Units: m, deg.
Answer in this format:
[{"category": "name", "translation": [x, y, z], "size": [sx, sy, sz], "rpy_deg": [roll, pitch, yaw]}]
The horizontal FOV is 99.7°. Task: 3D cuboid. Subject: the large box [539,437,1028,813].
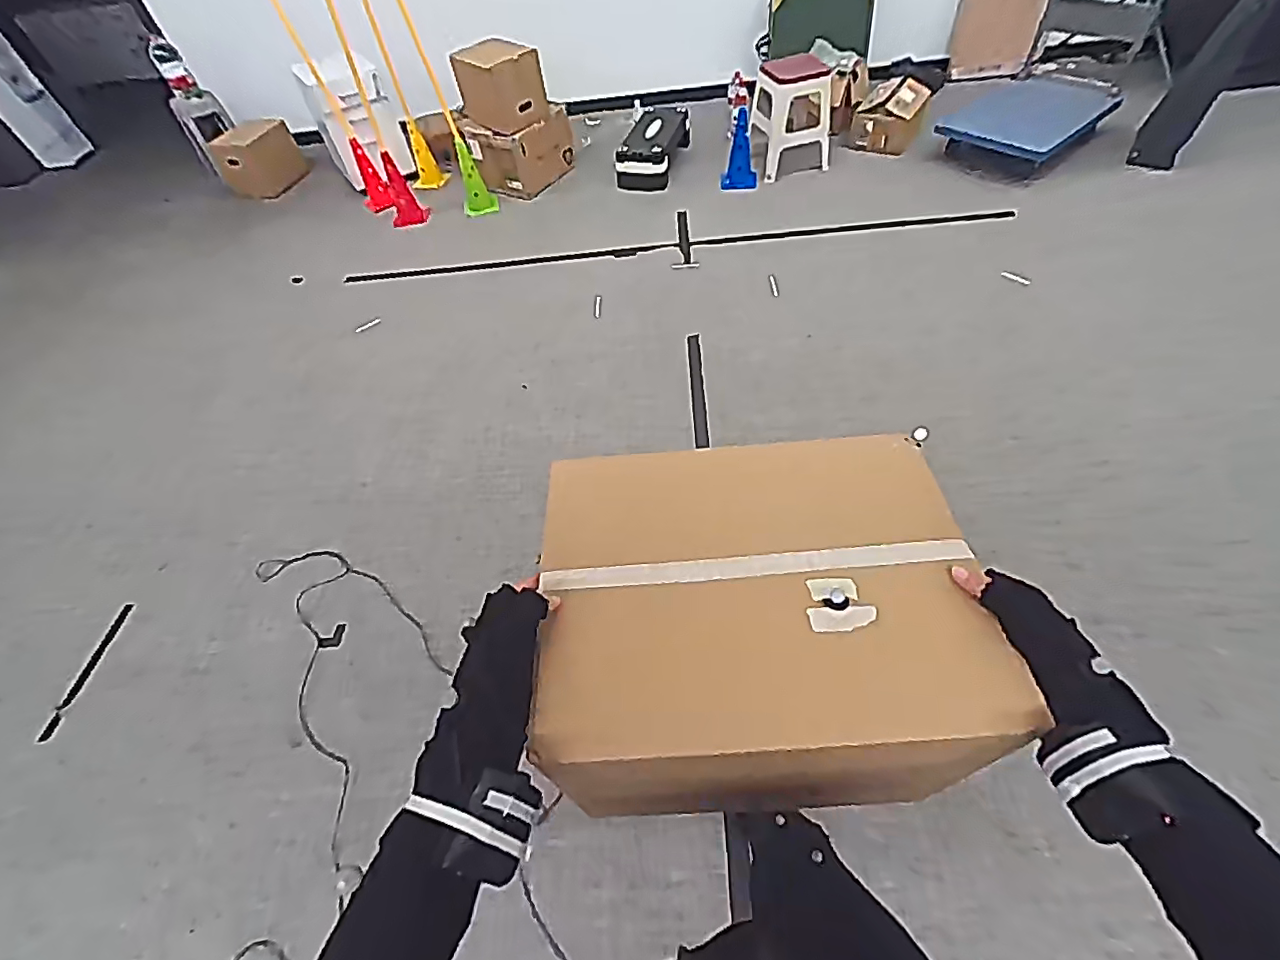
[{"category": "large box", "translation": [0.116, 0.180, 0.640], "size": [0.408, 0.320, 0.320], "rpy_deg": [-5, 51, 2]}]
